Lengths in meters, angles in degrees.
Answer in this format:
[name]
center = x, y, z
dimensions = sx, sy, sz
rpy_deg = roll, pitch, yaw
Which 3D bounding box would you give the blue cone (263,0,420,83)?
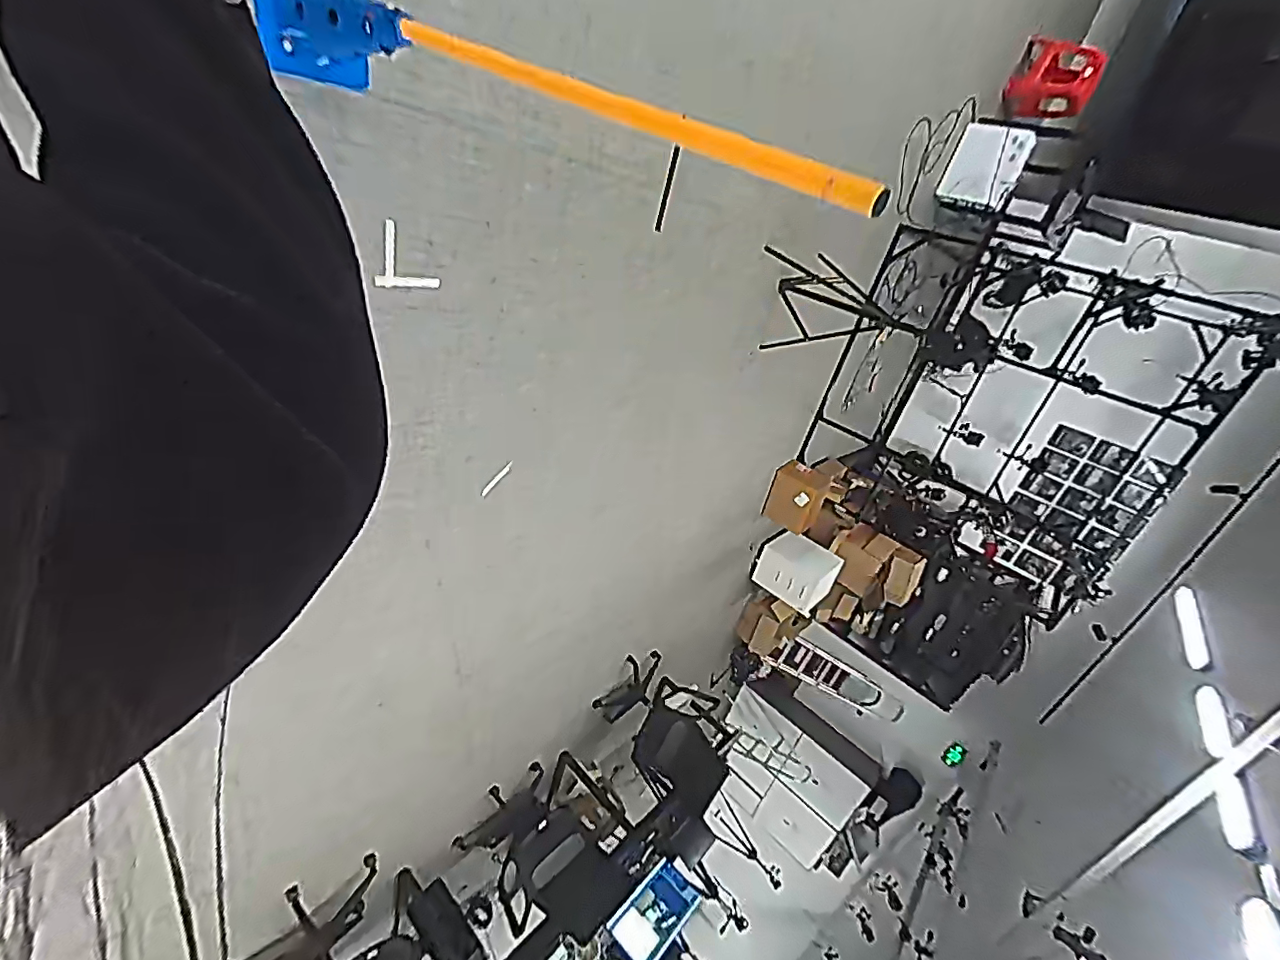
[blue cone]
center = -0.500, -0.812, 0.952
dimensions = 0.193, 0.380, 0.192
rpy_deg = -21, 134, -46
